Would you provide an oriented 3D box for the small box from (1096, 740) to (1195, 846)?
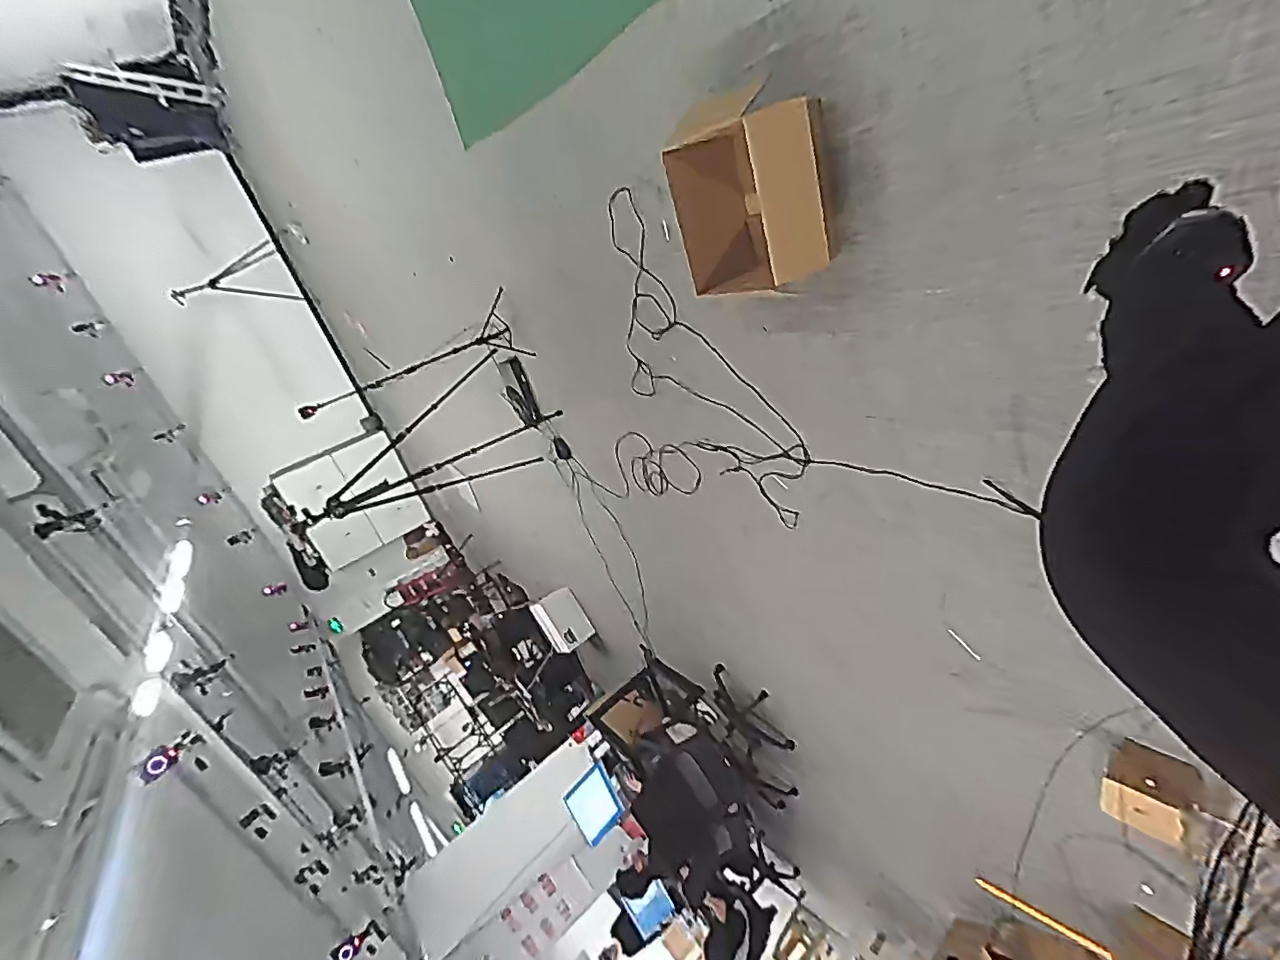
[{"bbox_3d":[1.468,0.898,1.574,0.179,0.176,0.168,13,129,52],"label":"small box"}]
